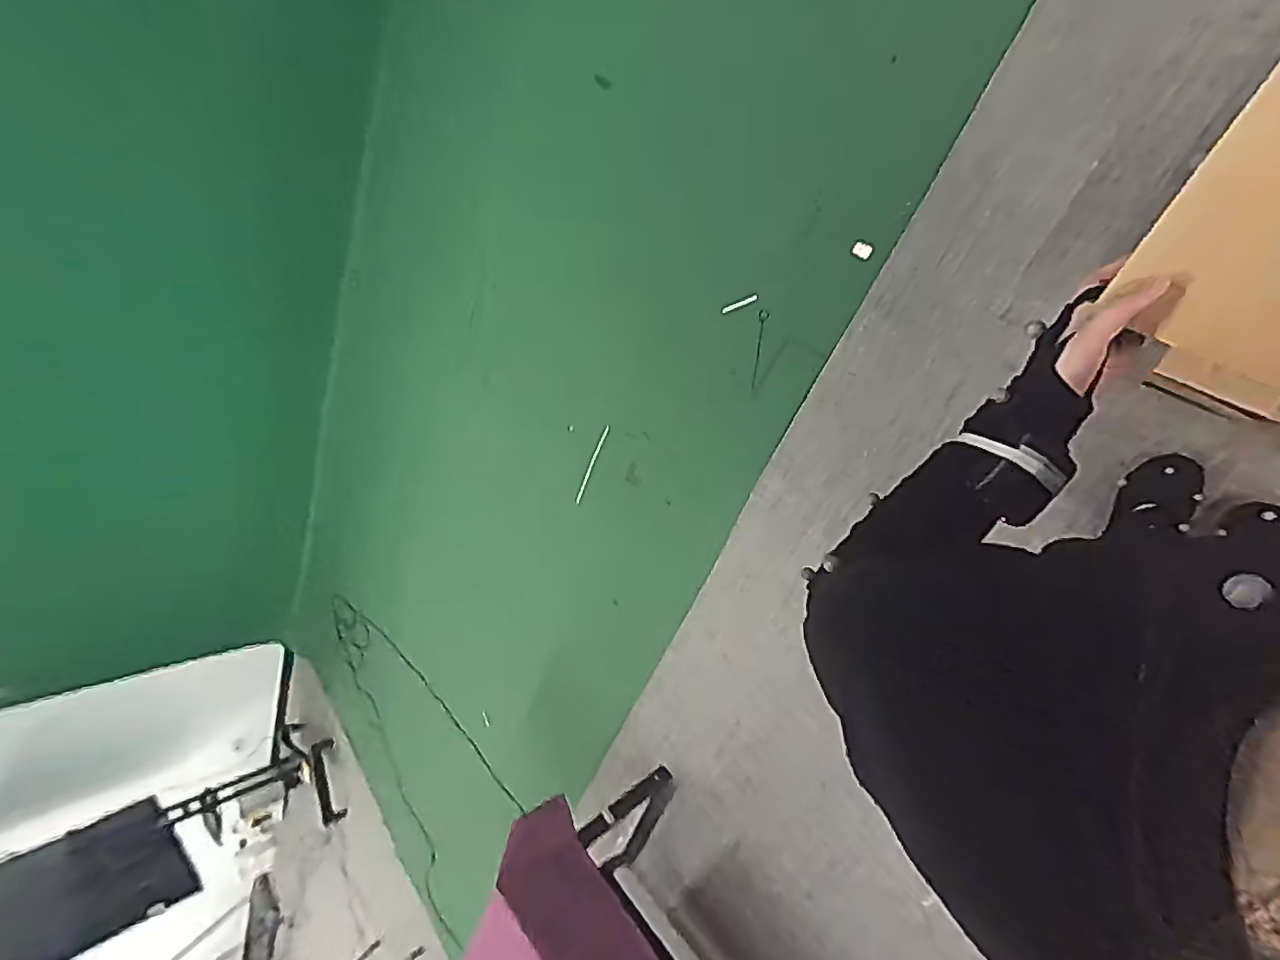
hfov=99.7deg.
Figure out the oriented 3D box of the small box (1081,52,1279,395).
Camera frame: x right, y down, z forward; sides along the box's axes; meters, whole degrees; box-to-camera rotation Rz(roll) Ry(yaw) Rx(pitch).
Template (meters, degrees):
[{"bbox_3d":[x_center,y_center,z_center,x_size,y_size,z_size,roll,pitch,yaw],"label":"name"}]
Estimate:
[{"bbox_3d":[0.470,-0.167,0.377,0.179,0.176,0.168,41,136,28],"label":"small box"}]
